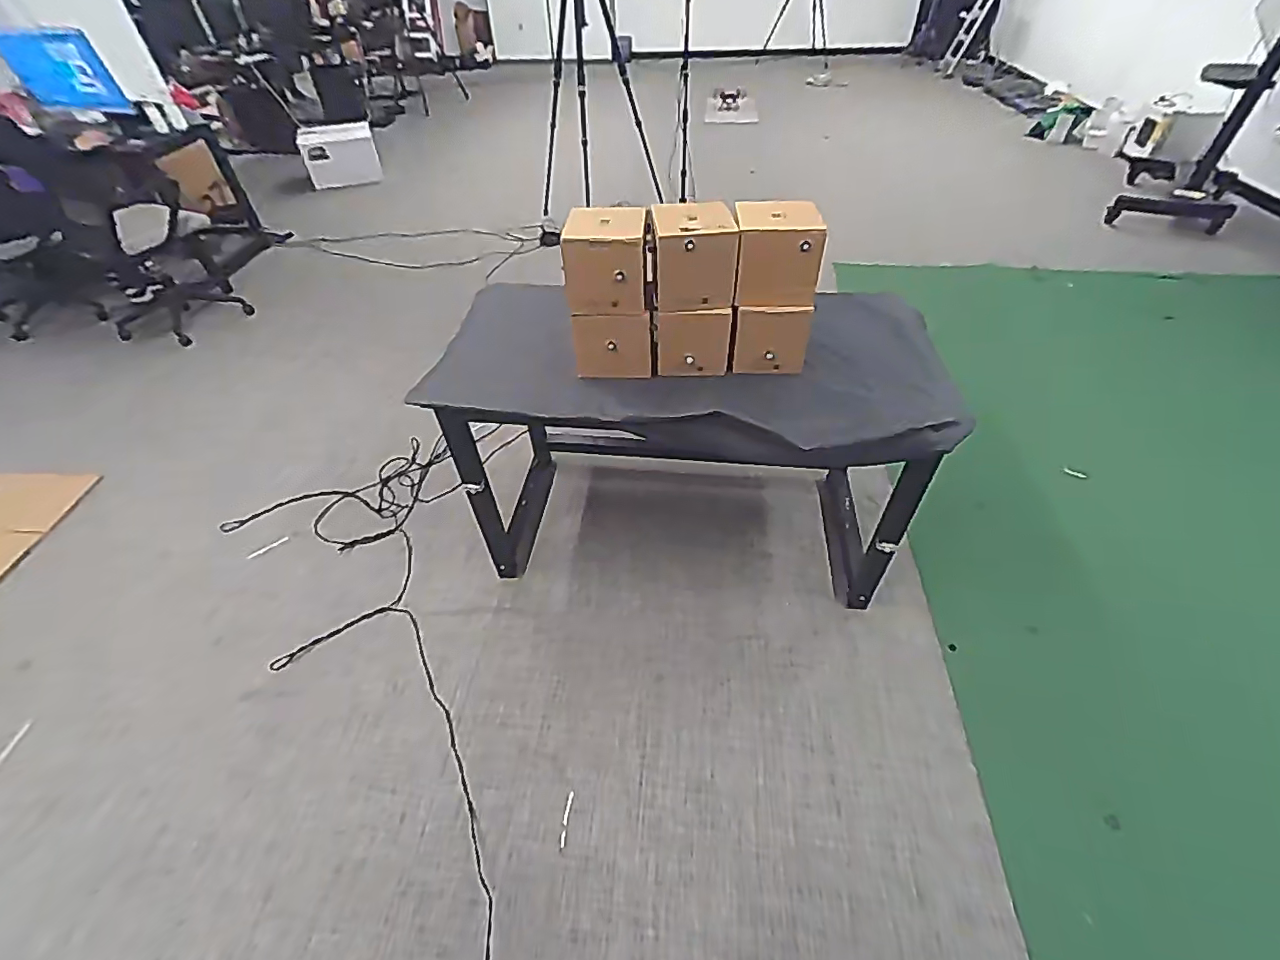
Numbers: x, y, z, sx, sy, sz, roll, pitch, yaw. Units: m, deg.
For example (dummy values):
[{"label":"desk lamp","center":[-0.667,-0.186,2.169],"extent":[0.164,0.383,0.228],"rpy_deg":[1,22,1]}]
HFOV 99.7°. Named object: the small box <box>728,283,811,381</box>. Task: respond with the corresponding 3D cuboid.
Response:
[{"label":"small box","center":[0.303,-0.357,1.304],"extent":[0.168,0.176,0.179],"rpy_deg":[1,45,5]}]
